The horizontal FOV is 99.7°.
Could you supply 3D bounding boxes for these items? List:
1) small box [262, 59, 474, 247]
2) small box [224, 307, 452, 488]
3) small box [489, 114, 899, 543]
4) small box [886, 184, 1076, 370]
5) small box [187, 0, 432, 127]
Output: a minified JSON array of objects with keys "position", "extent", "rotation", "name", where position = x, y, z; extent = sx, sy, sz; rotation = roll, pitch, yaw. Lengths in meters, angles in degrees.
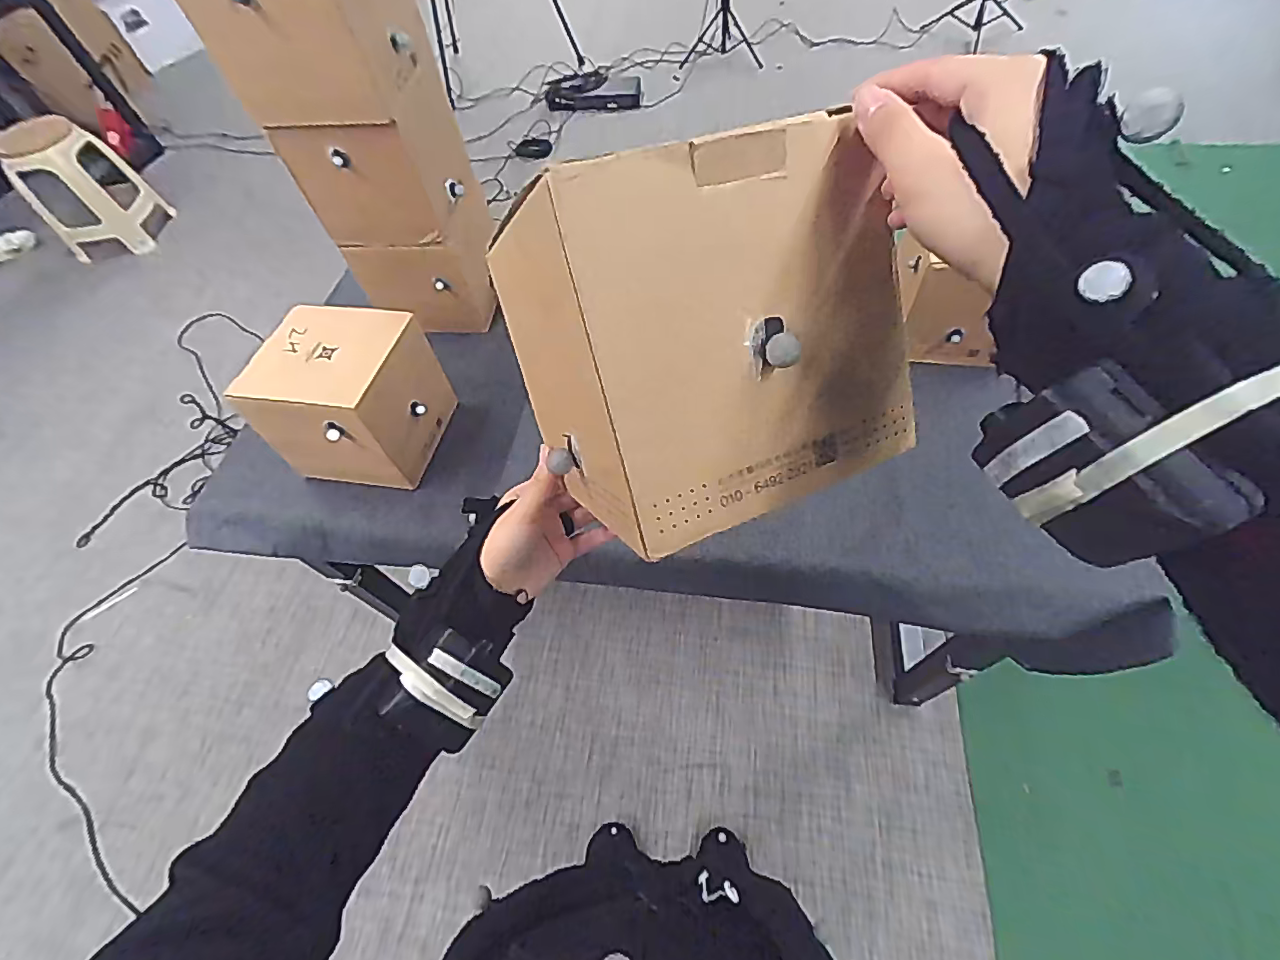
[{"position":[-0.353,-0.441,0.742],"extent":[0.179,0.176,0.168],"rotation":[2,60,5],"name":"small box"},{"position":[-0.379,-0.105,0.722],"extent":[0.179,0.176,0.168],"rotation":[6,56,9],"name":"small box"},{"position":[0.025,-0.079,0.321],"extent":[0.168,0.176,0.179],"rotation":[-20,18,-17],"name":"small box"},{"position":[0.452,-0.281,0.753],"extent":[0.168,0.176,0.179],"rotation":[7,60,10],"name":"small box"},{"position":[-0.364,-0.518,0.597],"extent":[0.179,0.176,0.168],"rotation":[4,60,6],"name":"small box"}]
